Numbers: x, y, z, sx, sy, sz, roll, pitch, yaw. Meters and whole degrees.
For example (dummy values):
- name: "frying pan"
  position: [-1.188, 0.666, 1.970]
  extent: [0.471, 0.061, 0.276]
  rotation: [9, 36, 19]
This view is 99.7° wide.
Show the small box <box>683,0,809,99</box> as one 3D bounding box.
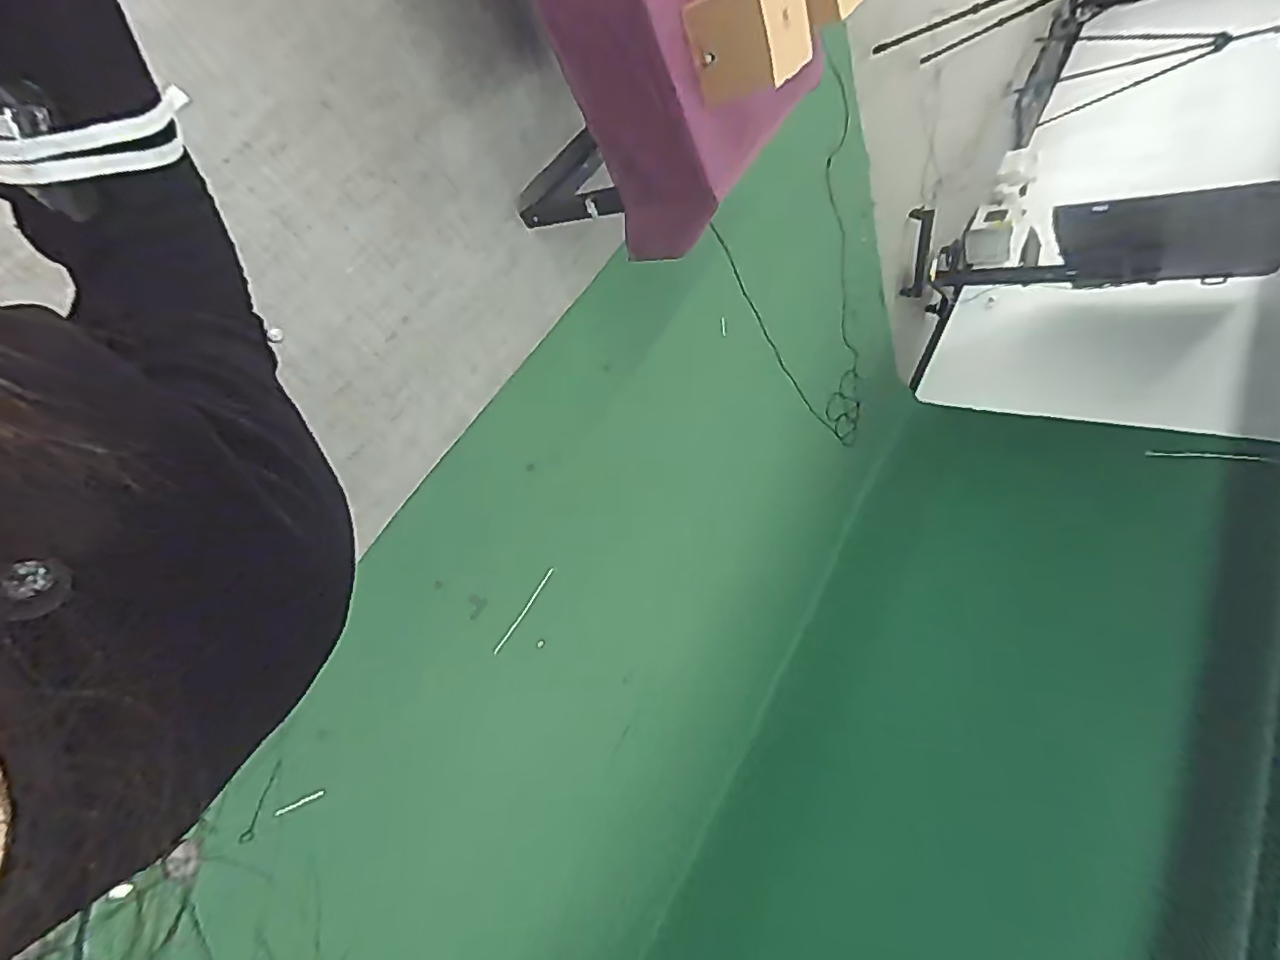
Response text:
- name: "small box"
  position: [0.213, -0.896, 1.082]
  extent: [0.168, 0.176, 0.179]
  rotation: [-52, 135, -26]

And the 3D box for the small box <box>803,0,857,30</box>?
- name: "small box"
  position: [0.383, -1.130, 1.203]
  extent: [0.179, 0.176, 0.168]
  rotation: [-53, 135, -23]
